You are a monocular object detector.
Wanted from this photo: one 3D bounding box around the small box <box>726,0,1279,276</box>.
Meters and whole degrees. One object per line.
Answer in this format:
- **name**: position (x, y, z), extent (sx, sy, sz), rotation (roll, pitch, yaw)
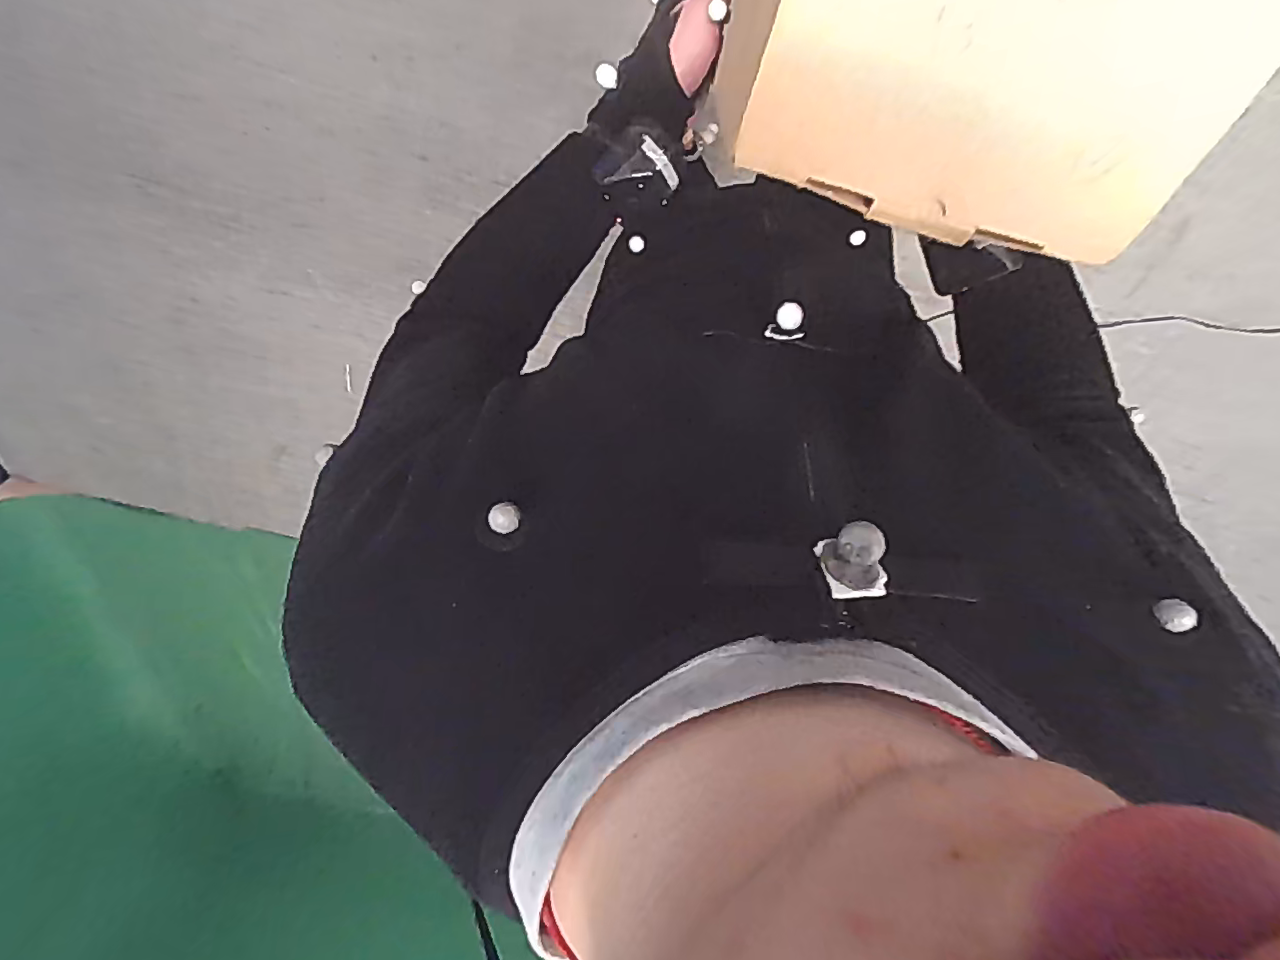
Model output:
- **small box**: position (0.140, -0.217, 0.218), extent (0.168, 0.176, 0.179), rotation (12, 134, -5)
